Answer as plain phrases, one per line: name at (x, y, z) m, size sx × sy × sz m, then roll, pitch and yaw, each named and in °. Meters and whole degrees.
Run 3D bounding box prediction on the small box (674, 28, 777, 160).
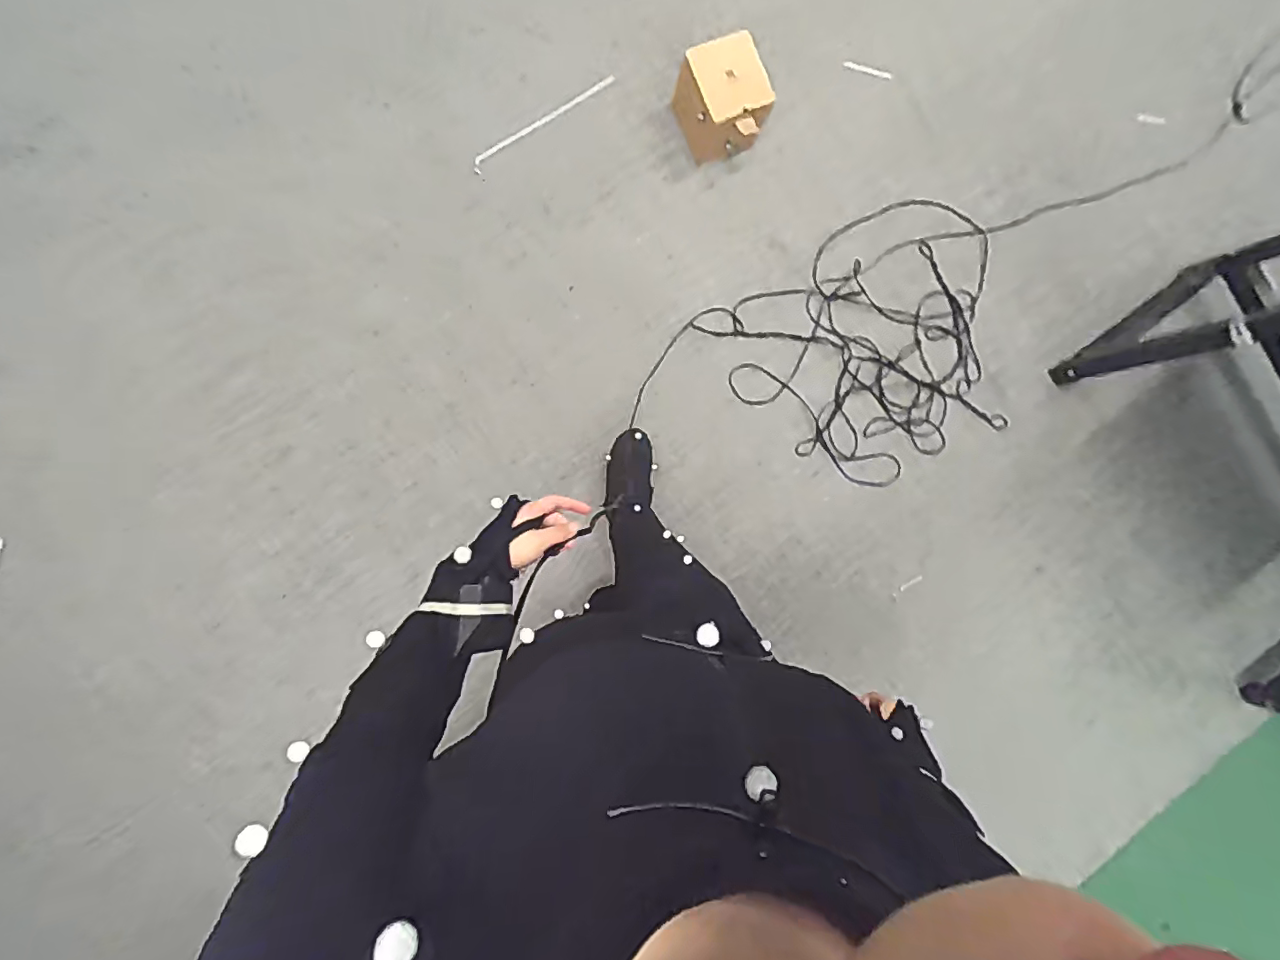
small box at (0.198, -0.924, 1.308) m, size 0.168 × 0.176 × 0.179 m, roll -25°, pitch 94°, yaw -8°
